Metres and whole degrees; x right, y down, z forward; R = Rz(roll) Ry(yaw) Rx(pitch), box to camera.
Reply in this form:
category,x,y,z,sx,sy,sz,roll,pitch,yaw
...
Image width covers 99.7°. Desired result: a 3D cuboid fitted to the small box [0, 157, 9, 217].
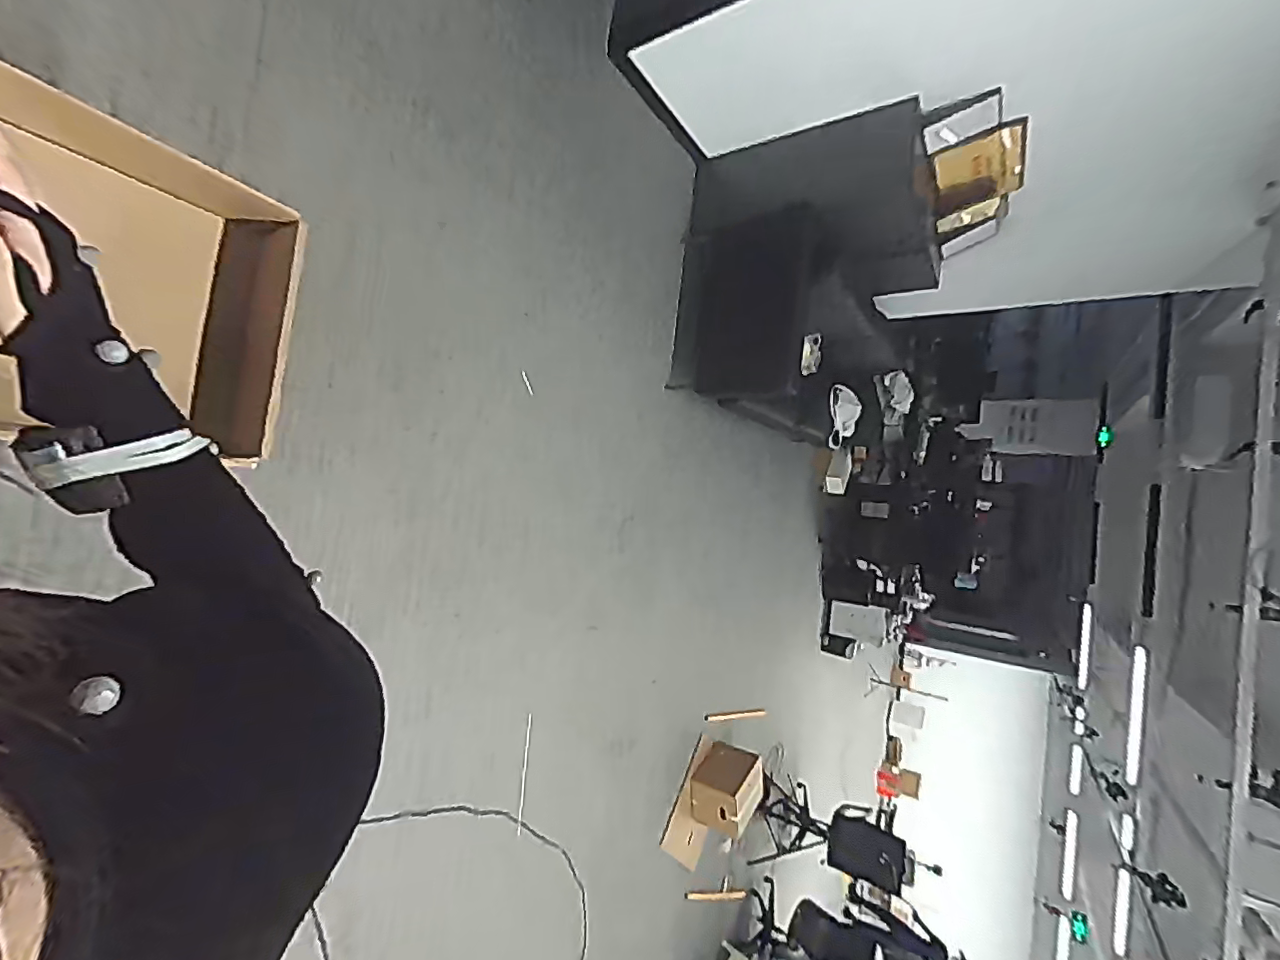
category,x,y,z,sx,sy,sz,roll,pitch,yaw
small box,-0.508,-0.170,0.290,0.179,0.176,0.168,31,80,-47
